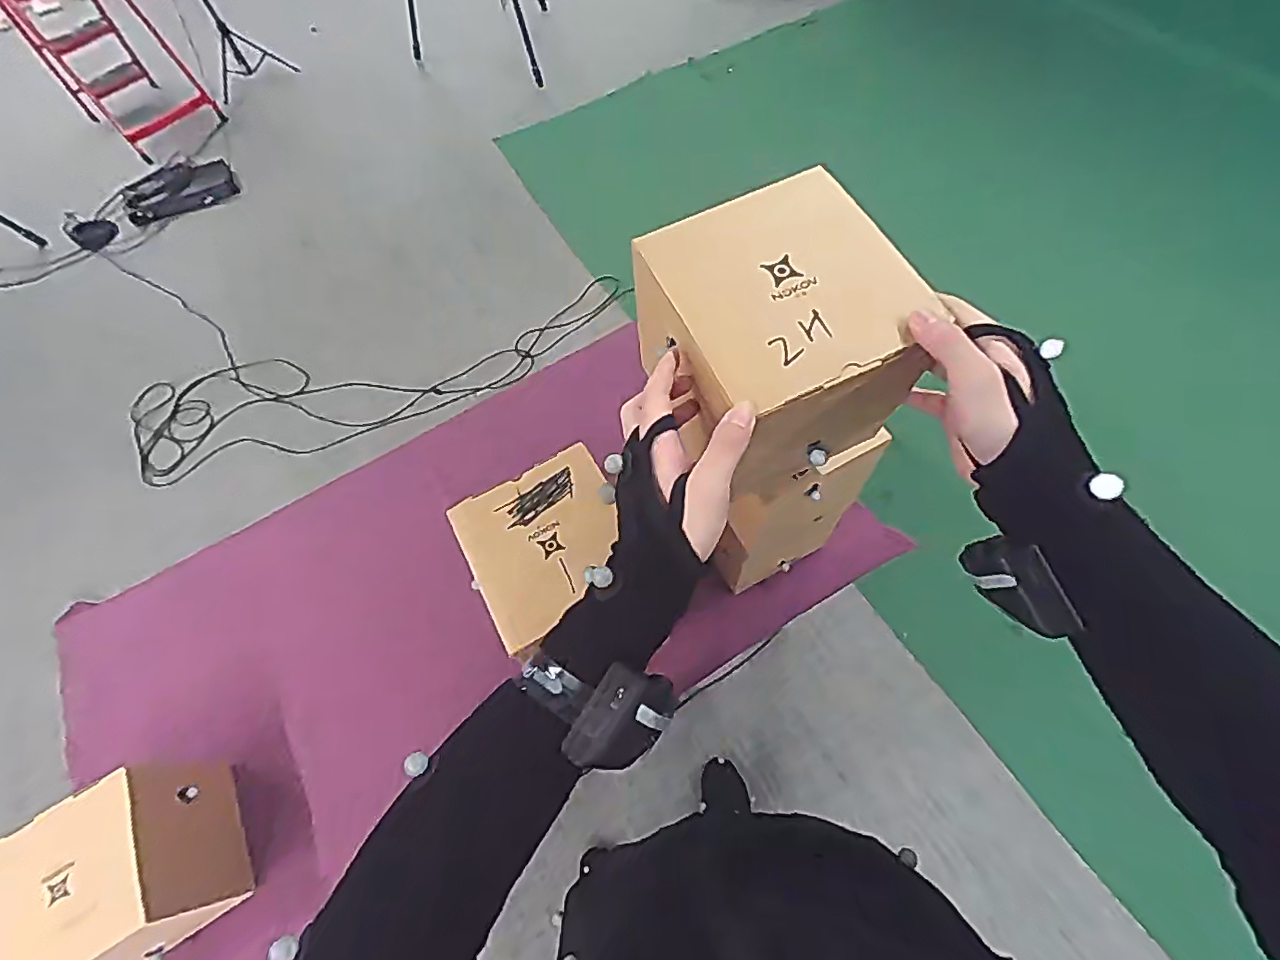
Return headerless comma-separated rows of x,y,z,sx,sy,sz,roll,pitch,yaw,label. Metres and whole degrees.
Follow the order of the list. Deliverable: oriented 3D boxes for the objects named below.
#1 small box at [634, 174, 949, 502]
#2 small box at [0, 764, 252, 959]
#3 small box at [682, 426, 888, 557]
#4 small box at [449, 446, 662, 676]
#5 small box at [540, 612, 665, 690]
0.105,-0.109,0.459,0.168,0.176,0.179,-24,68,-6,small box
-0.616,0.473,0.650,0.168,0.176,0.179,-31,64,-11,small box
0.158,-0.034,0.663,0.168,0.176,0.179,-27,63,-8,small box
-0.087,0.099,0.619,0.168,0.176,0.179,-29,64,-9,small box
-0.075,0.177,0.763,0.168,0.176,0.179,-29,63,-10,small box
